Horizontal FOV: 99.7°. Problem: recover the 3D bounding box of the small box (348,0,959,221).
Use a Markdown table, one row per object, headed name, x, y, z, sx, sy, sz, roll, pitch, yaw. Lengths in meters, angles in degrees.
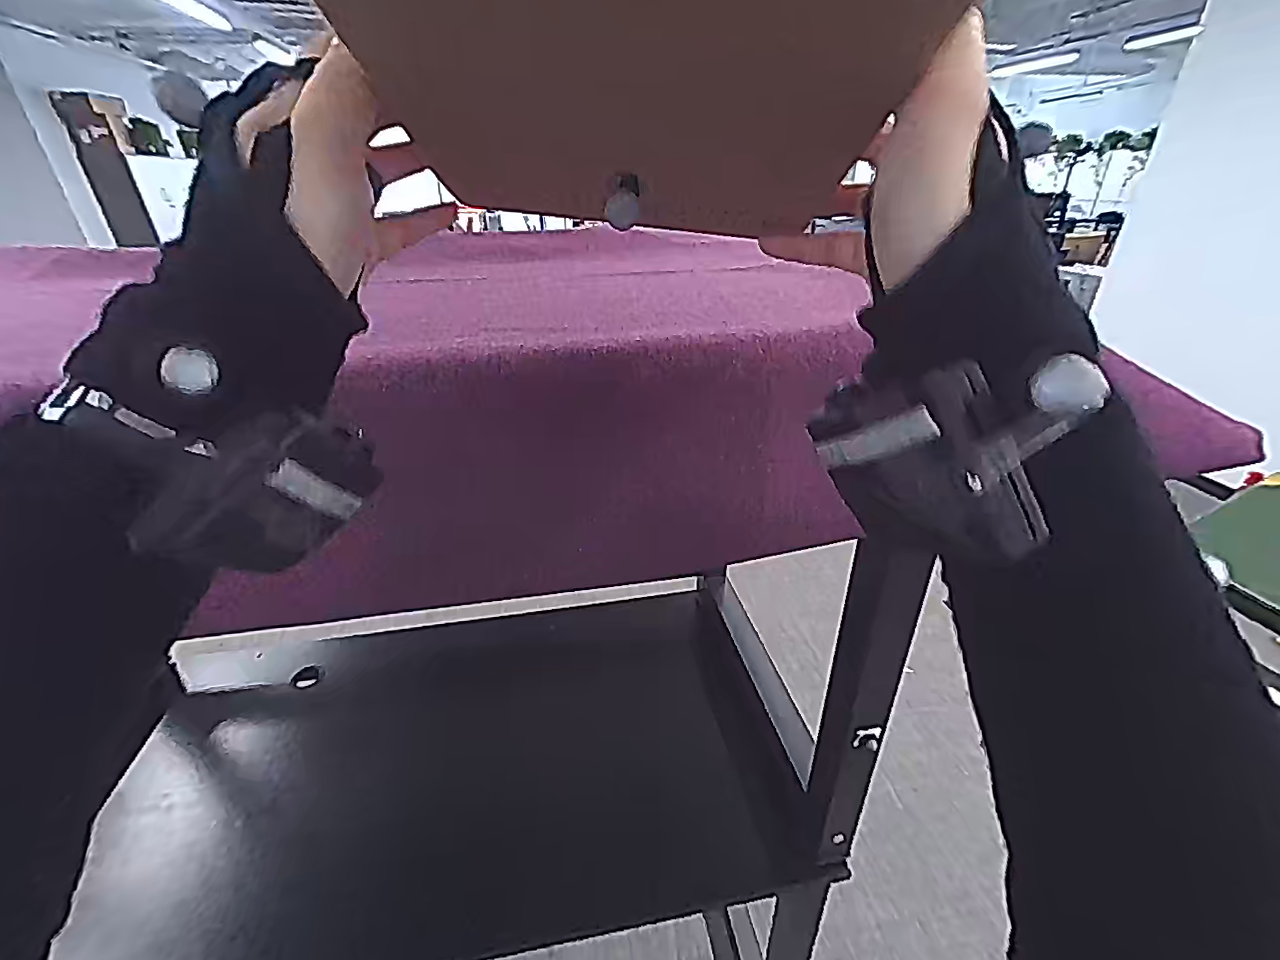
| name | x | y | z | sx | sy | sz | roll | pitch | yaw |
| --- | --- | --- | --- | --- | --- | --- | --- | --- | --- |
| small box | 0.005 | -0.215 | 0.193 | 0.179 | 0.168 | 0.176 | 6 | 0 | -1 |
